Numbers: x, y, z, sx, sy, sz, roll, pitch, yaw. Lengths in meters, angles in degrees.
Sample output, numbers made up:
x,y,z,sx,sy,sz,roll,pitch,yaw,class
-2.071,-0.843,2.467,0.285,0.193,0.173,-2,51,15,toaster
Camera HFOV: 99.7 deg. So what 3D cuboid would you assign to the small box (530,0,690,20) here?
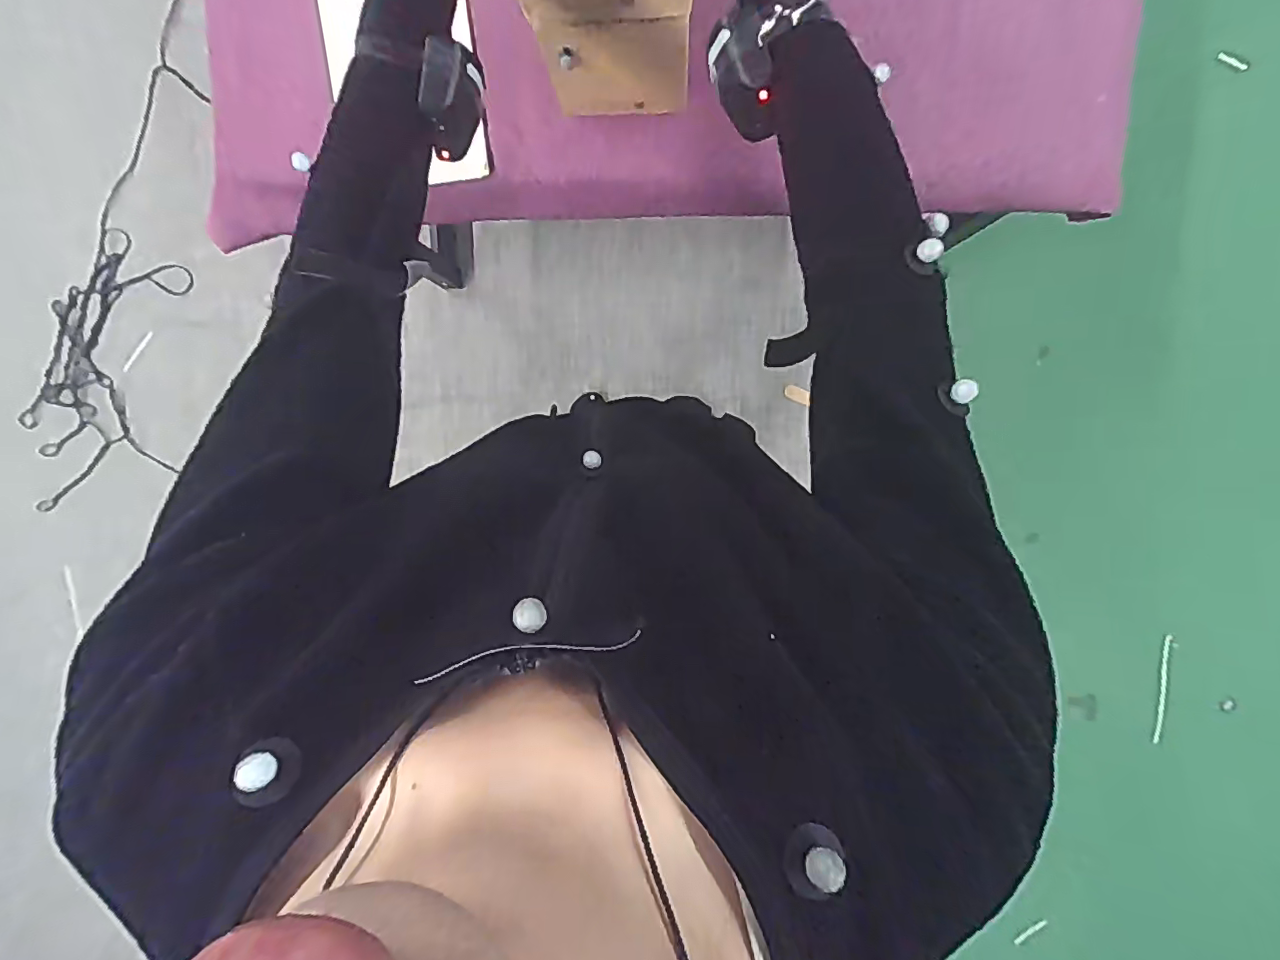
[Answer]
x,y,z,sx,sy,sz,roll,pitch,yaw,class
-0.035,-0.535,0.459,0.168,0.176,0.179,0,98,3,small box
